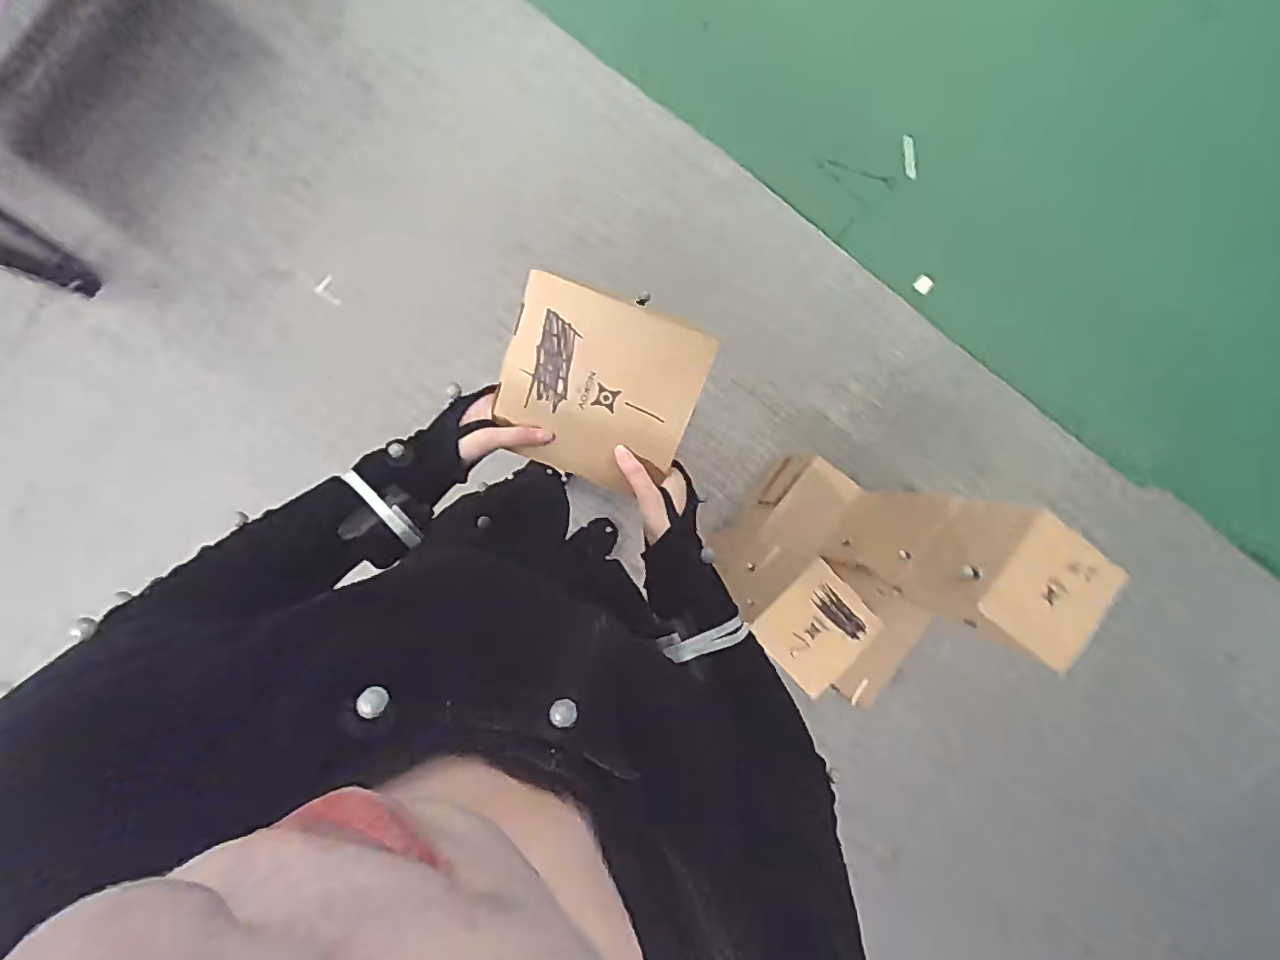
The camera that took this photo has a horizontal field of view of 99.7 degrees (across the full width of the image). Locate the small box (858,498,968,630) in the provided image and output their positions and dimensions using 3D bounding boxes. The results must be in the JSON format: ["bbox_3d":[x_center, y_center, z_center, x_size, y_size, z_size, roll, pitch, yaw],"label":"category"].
[{"bbox_3d":[0.542,0.147,0.998,0.168,0.176,0.179,37,88,-6],"label":"small box"}]

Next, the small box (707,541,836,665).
[{"bbox_3d":[0.266,0.245,1.136,0.179,0.176,0.168,42,88,-4],"label":"small box"}]

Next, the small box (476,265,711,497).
[{"bbox_3d":[-0.045,-0.108,0.566,0.179,0.176,0.168,20,109,-6],"label":"small box"}]

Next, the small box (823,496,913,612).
[{"bbox_3d":[0.521,0.149,1.159,0.168,0.176,0.179,36,87,-5],"label":"small box"}]

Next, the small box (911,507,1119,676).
[{"bbox_3d":[0.557,0.159,0.834,0.168,0.176,0.179,38,87,-6],"label":"small box"}]
